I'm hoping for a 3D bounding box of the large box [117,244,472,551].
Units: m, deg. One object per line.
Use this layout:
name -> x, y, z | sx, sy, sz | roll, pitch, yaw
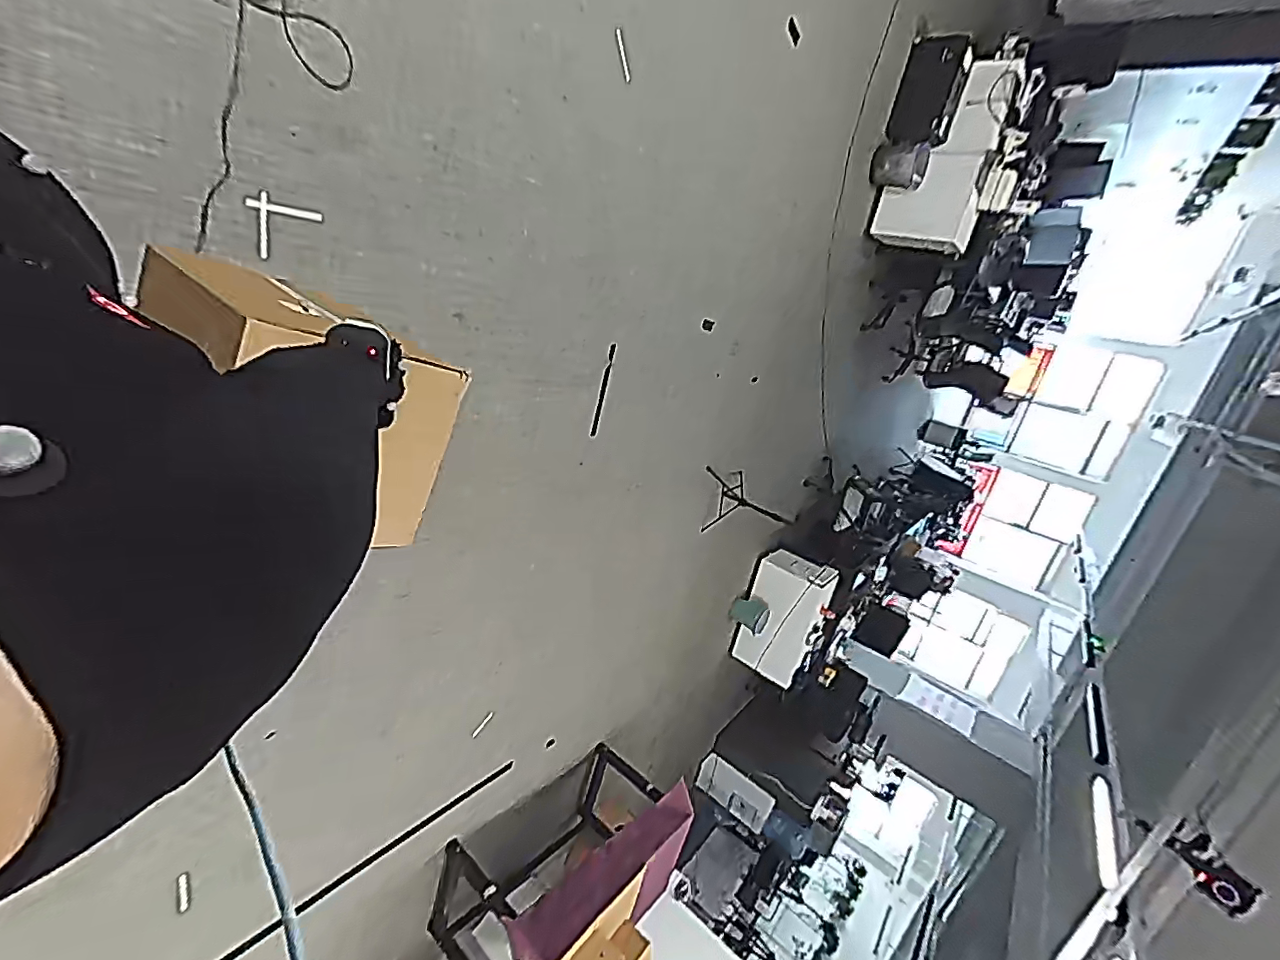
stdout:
large box -> -0.560, -0.125, 0.873 | 0.320, 0.408, 0.320 | 4, 113, -57
